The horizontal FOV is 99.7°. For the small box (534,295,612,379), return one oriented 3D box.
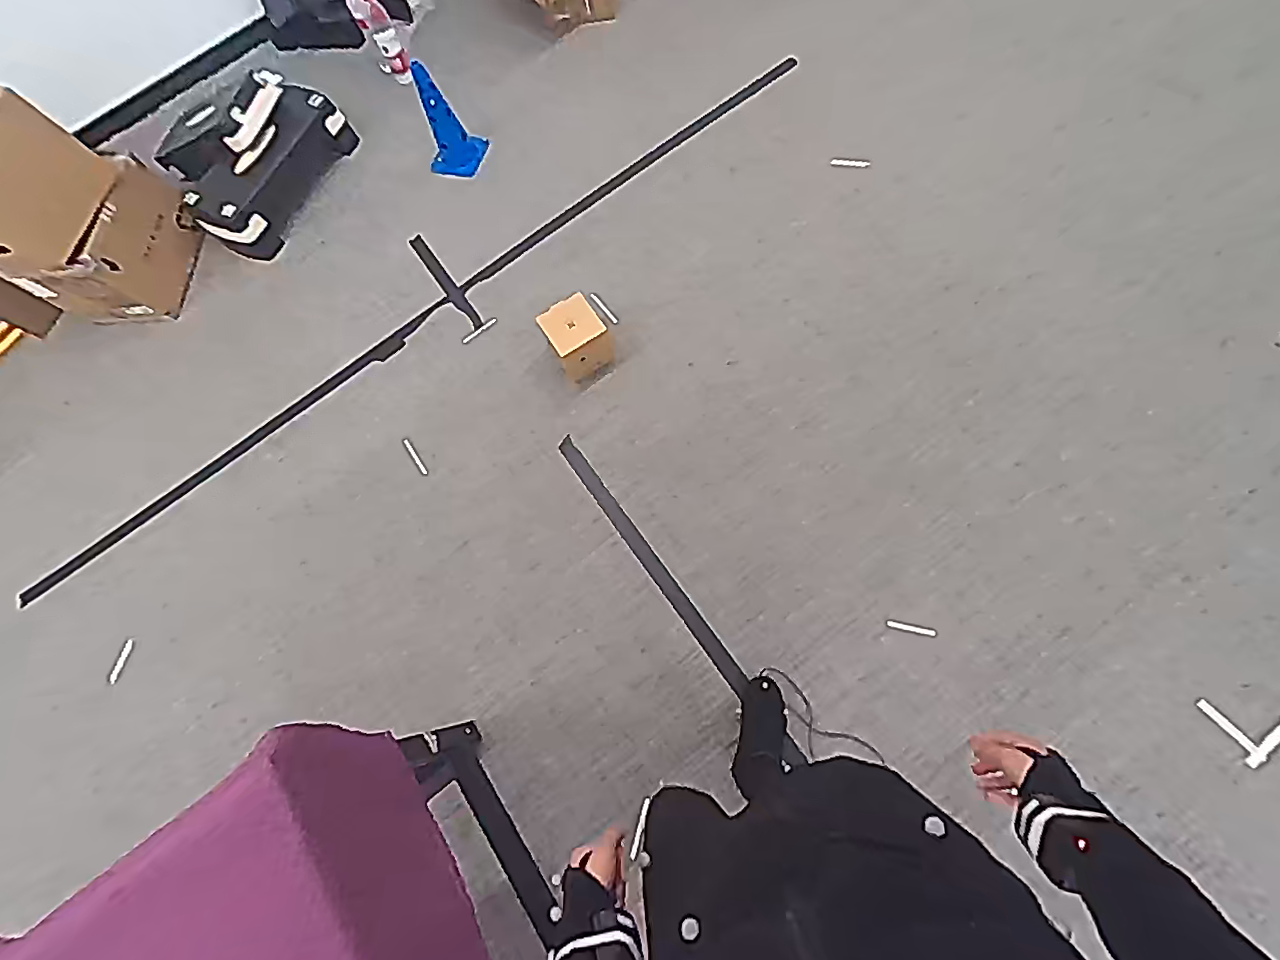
[{"bbox_3d":[-0.208,-0.447,1.732,0.168,0.176,0.179,-33,70,-4],"label":"small box"}]
